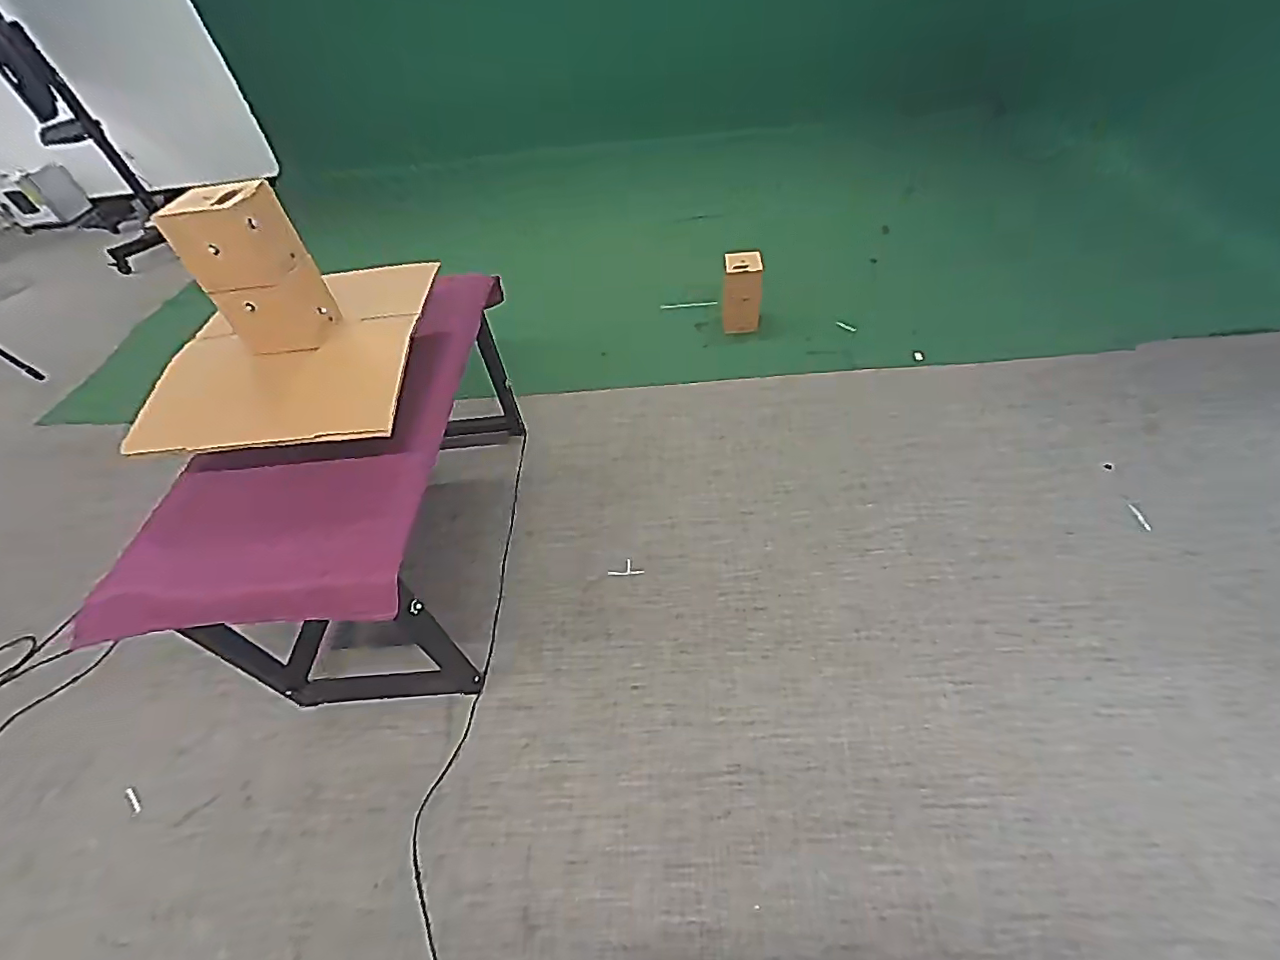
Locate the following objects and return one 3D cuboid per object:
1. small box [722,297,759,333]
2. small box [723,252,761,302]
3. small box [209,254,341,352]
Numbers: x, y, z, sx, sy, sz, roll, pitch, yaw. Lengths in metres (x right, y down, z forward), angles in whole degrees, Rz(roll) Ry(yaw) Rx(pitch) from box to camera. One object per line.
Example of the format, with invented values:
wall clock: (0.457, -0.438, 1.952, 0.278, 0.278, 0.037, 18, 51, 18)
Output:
small box: (0.500, -0.862, 2.719, 0.168, 0.176, 0.179, -2, 50, 5)
small box: (0.486, -0.968, 2.594, 0.168, 0.176, 0.179, -1, 49, 5)
small box: (-0.877, -0.427, 1.320, 0.179, 0.176, 0.168, -5, 47, 2)
